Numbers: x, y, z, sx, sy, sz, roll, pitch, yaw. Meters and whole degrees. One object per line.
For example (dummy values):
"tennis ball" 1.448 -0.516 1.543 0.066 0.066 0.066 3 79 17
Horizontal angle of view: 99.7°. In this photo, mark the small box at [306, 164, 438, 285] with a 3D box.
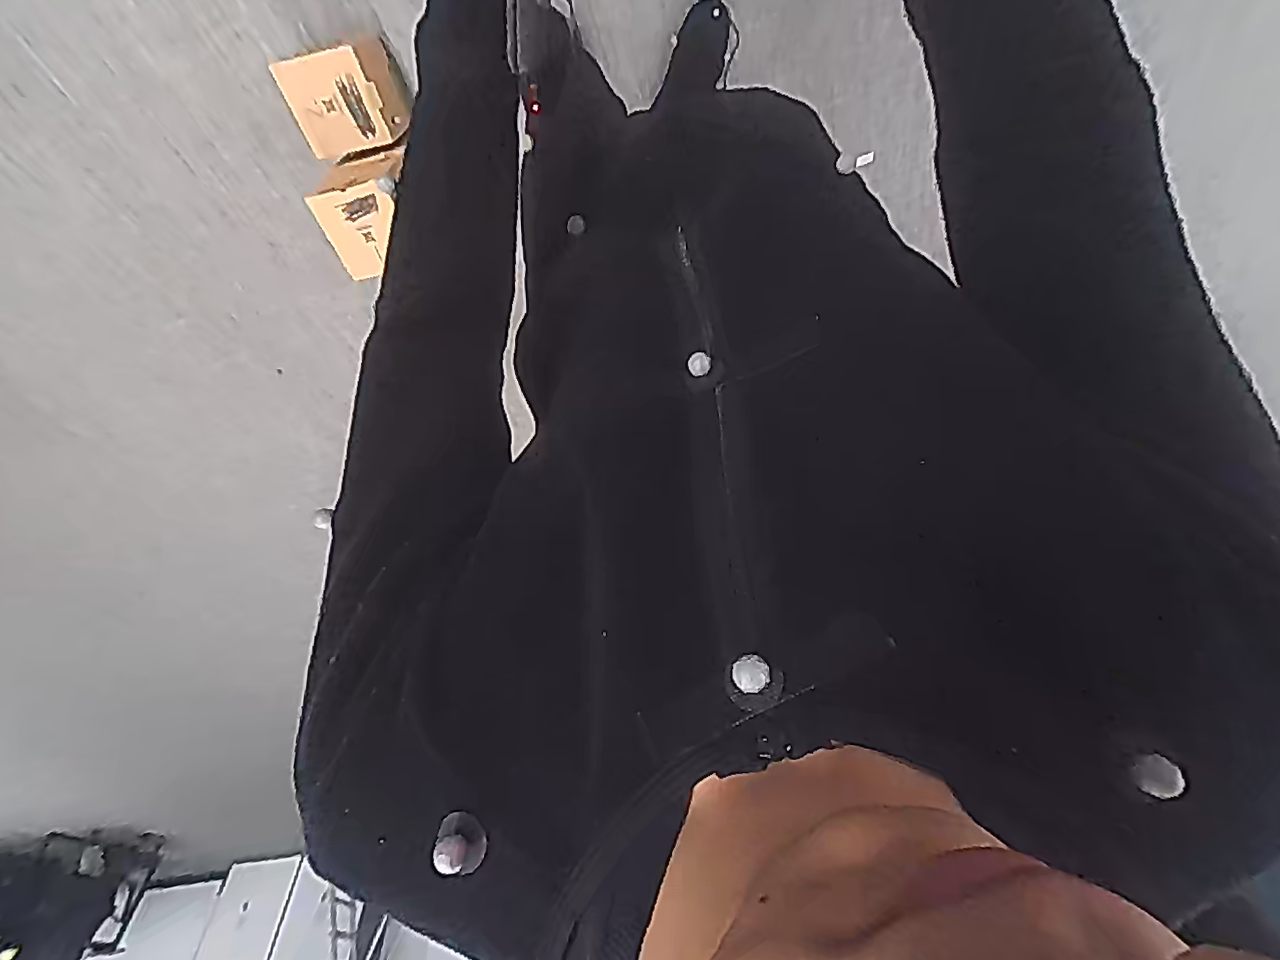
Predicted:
"small box" -0.555 -0.547 1.147 0.168 0.176 0.179 -10 136 6
